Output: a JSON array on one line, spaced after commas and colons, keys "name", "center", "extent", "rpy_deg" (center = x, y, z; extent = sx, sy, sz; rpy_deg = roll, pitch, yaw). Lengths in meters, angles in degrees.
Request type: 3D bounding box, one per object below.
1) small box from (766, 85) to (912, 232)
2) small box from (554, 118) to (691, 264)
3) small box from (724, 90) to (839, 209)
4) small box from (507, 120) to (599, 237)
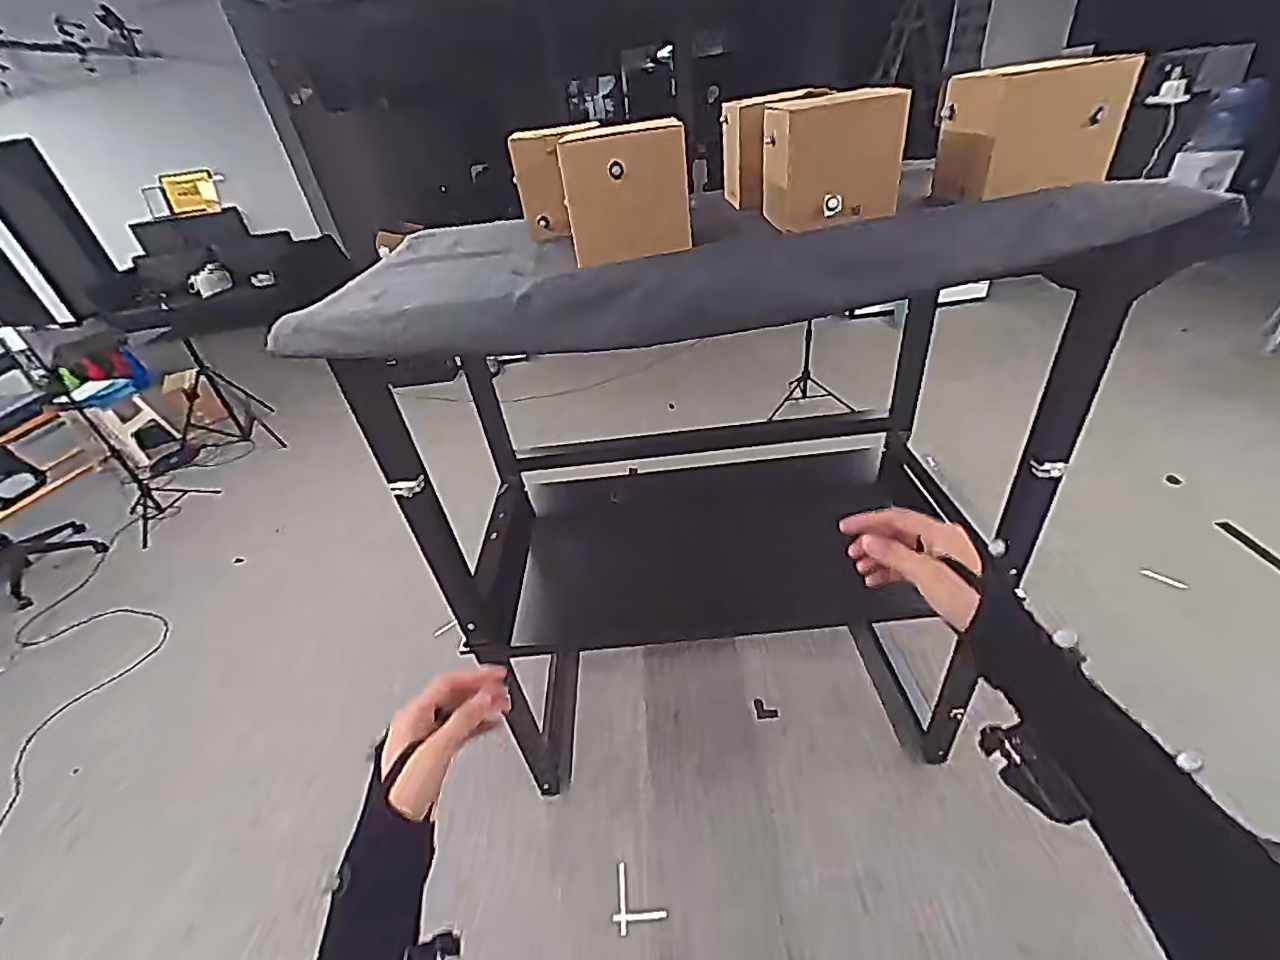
[{"name": "small box", "center": [0.290, -0.491, 0.833], "extent": [0.168, 0.176, 0.179], "rpy_deg": [-7, 35, 4]}, {"name": "small box", "center": [-0.019, -0.439, 0.823], "extent": [0.179, 0.176, 0.168], "rpy_deg": [-6, 36, 4]}, {"name": "small box", "center": [0.258, -0.629, 1.028], "extent": [0.179, 0.176, 0.168], "rpy_deg": [-6, 35, 2]}, {"name": "small box", "center": [-0.146, -0.574, 1.036], "extent": [0.168, 0.176, 0.179], "rpy_deg": [-9, 36, -1]}]
